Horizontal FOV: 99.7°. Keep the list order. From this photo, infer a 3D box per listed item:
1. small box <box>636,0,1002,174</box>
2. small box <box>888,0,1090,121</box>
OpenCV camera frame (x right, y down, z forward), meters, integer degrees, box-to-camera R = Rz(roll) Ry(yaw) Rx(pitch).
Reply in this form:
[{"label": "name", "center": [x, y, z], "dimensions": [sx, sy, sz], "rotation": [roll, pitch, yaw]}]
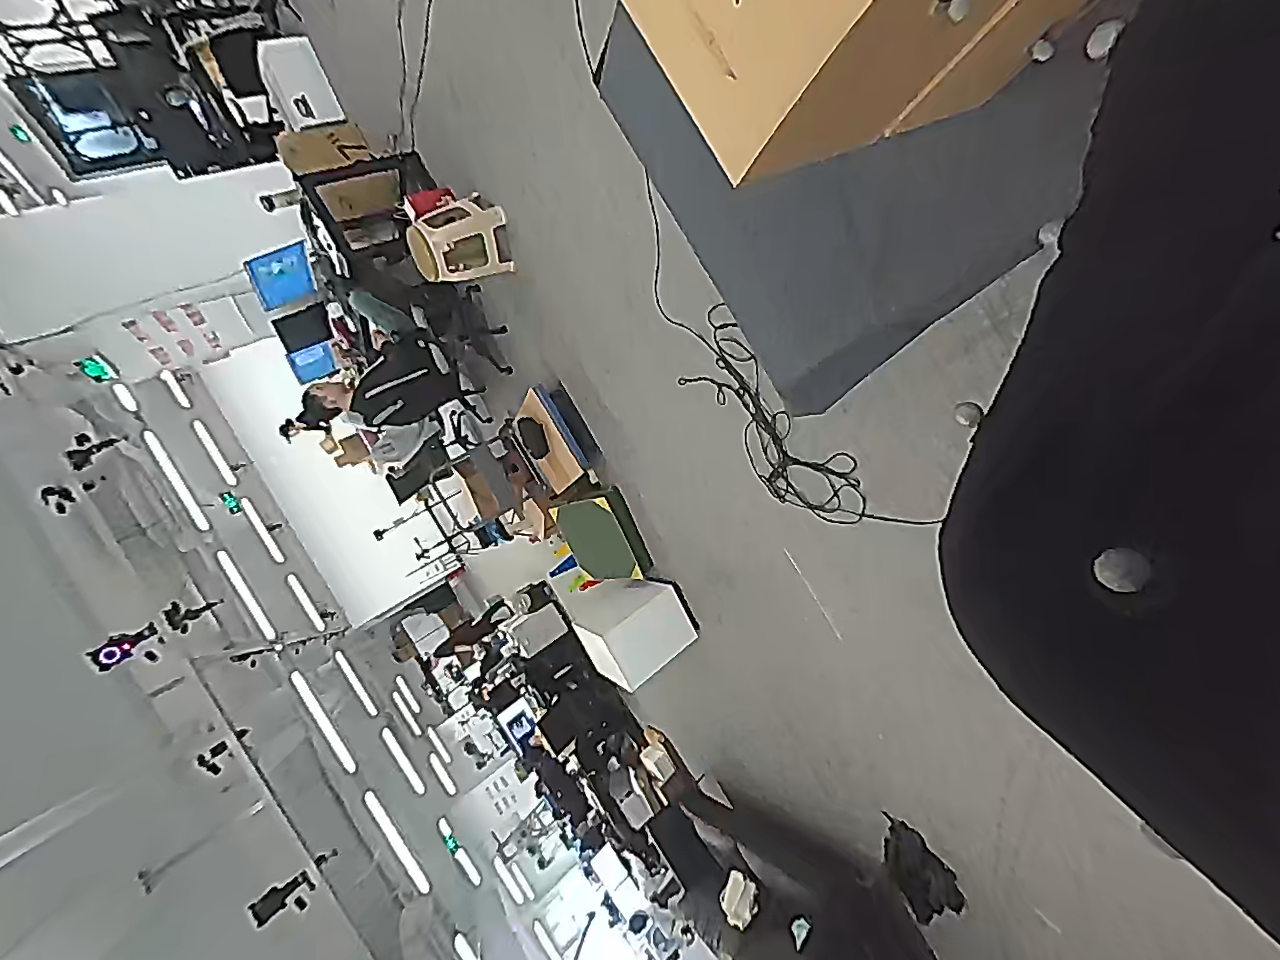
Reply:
[{"label": "small box", "center": [0.128, -0.346, 0.348], "dimensions": [0.168, 0.176, 0.179], "rotation": [59, 155, 1]}, {"label": "small box", "center": [0.254, -0.424, 0.413], "dimensions": [0.179, 0.176, 0.168], "rotation": [58, 155, -1]}]
